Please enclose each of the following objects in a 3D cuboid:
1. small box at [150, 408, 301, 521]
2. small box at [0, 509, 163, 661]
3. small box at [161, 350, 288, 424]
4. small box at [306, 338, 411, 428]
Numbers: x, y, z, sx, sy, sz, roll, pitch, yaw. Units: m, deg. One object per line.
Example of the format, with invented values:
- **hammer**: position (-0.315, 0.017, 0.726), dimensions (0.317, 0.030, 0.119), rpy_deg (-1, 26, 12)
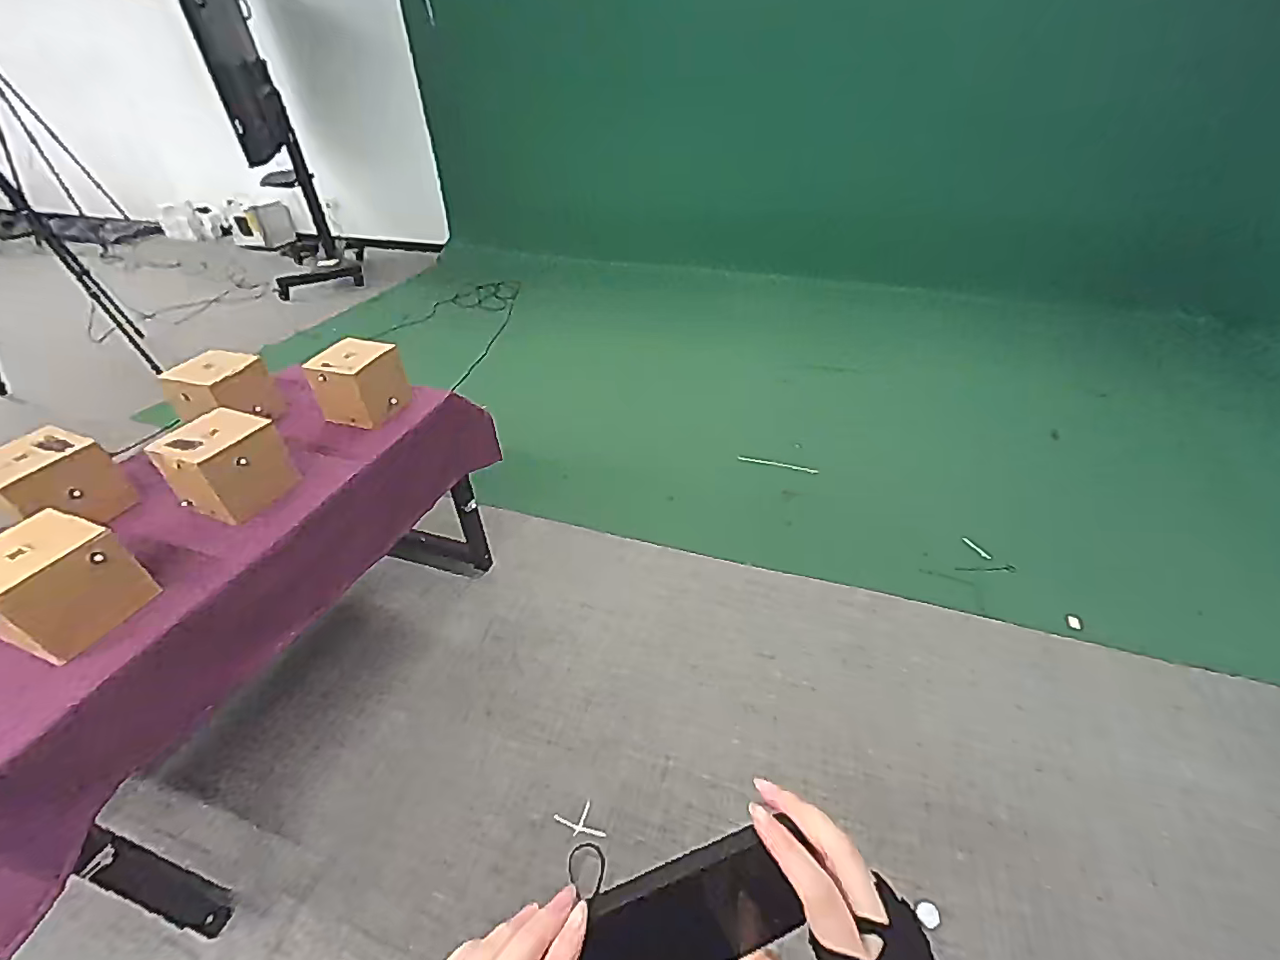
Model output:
- **small box**: position (-0.901, -0.034, 1.196), dimensions (0.168, 0.176, 0.179), rpy_deg (14, 41, 18)
- **small box**: position (-1.002, 0.181, 0.936), dimensions (0.168, 0.176, 0.179), rpy_deg (12, 40, 17)
- **small box**: position (-1.095, -0.228, 1.439), dimensions (0.179, 0.176, 0.168), rpy_deg (10, 41, 13)
- **small box**: position (-0.753, -0.266, 1.474), dimensions (0.168, 0.176, 0.179), rpy_deg (10, 40, 15)
